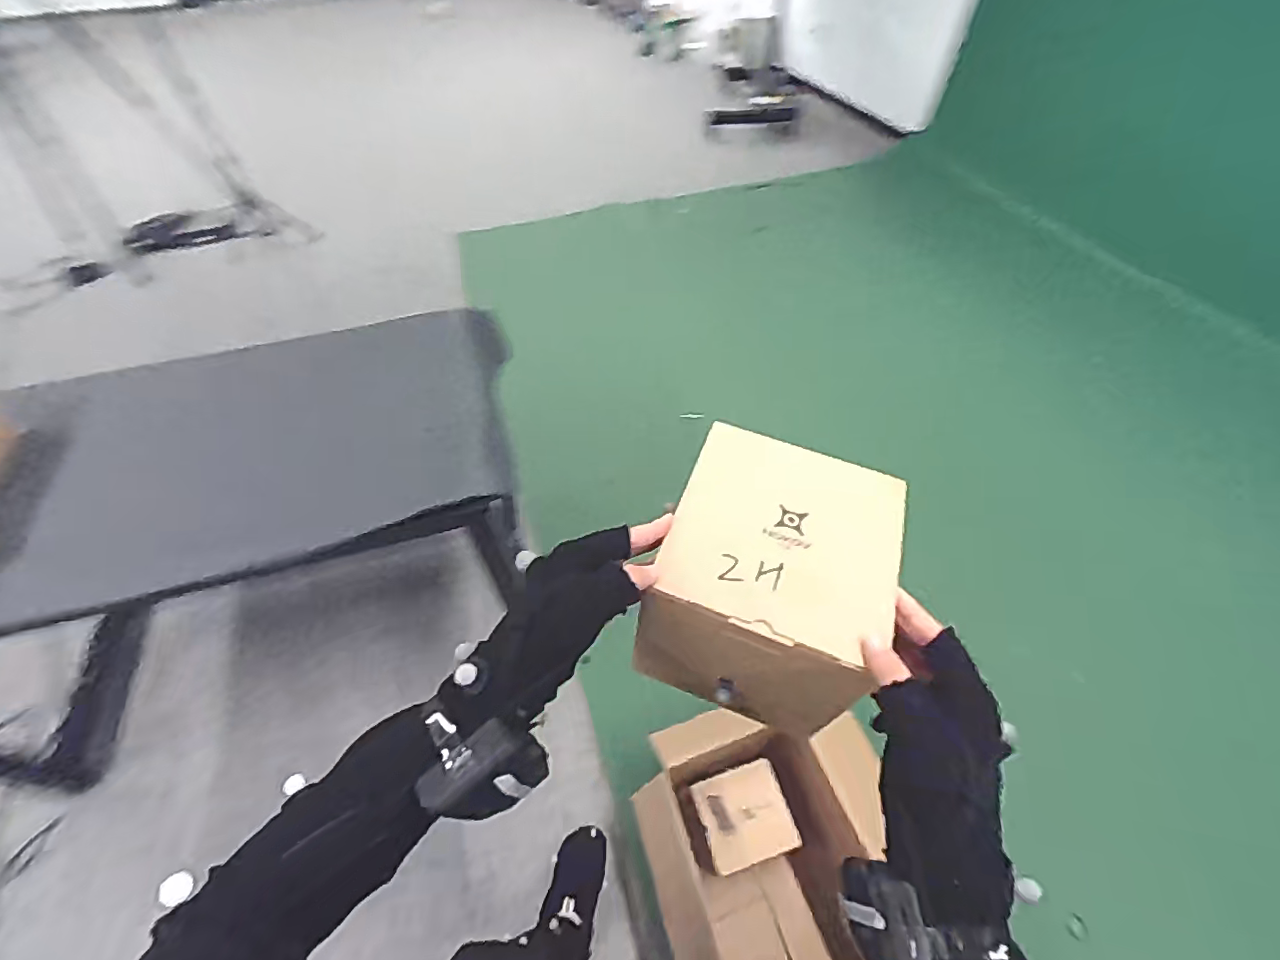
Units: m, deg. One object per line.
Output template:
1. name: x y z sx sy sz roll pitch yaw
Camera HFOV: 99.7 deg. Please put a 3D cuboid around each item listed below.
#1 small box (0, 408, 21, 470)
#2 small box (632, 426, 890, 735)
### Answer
1. small box: -1.238 -0.074 0.918 0.168 0.176 0.179 -13 53 -9
2. small box: 0.096 0.089 0.469 0.168 0.176 0.179 18 52 9
